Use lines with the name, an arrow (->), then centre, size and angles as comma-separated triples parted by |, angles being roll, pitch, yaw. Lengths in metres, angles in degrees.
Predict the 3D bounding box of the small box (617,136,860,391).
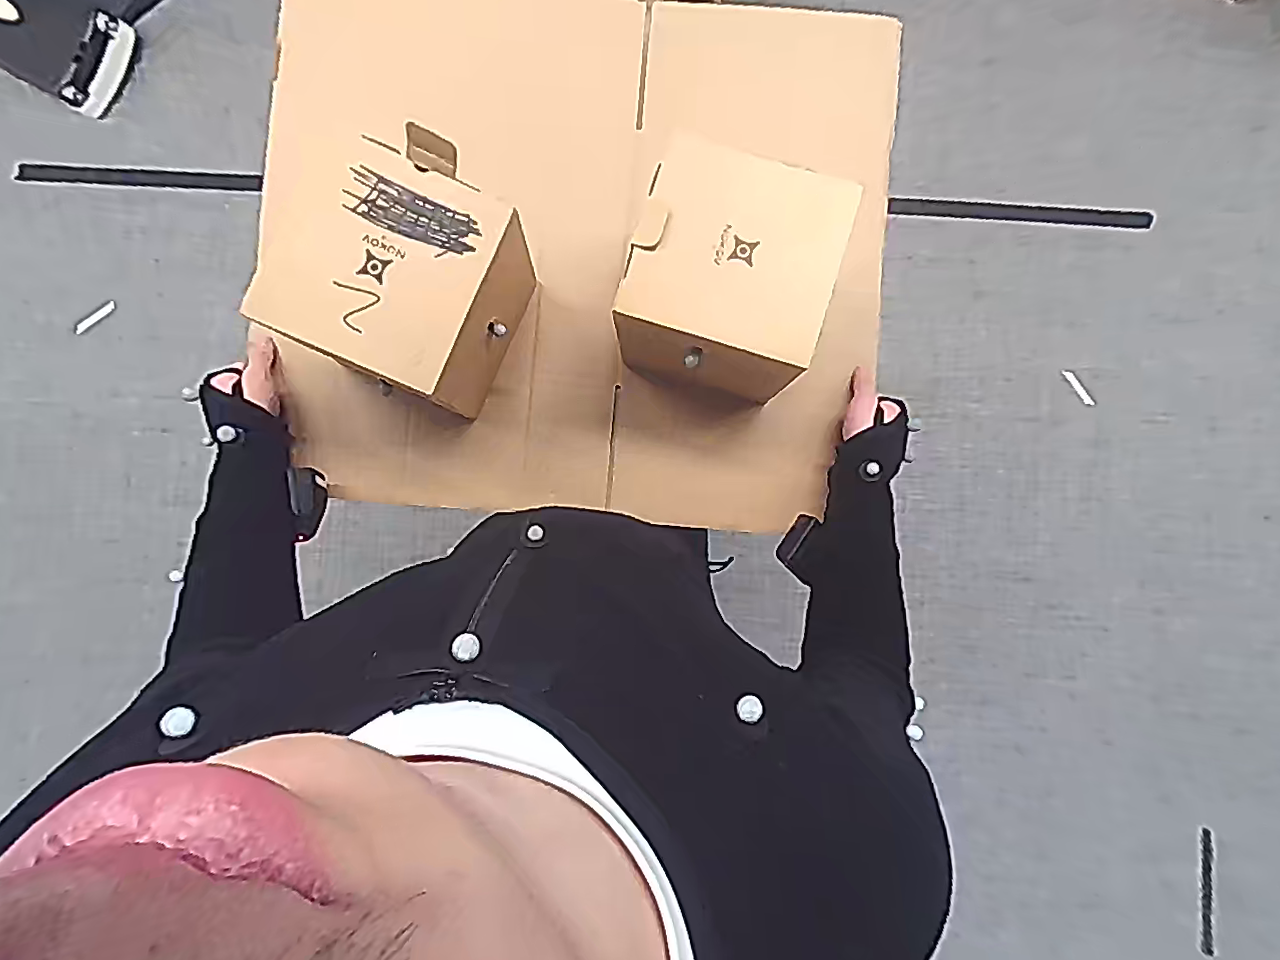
small box -> 0.088, -0.199, 0.550 | 0.179, 0.176, 0.168 | 17, 89, 3
